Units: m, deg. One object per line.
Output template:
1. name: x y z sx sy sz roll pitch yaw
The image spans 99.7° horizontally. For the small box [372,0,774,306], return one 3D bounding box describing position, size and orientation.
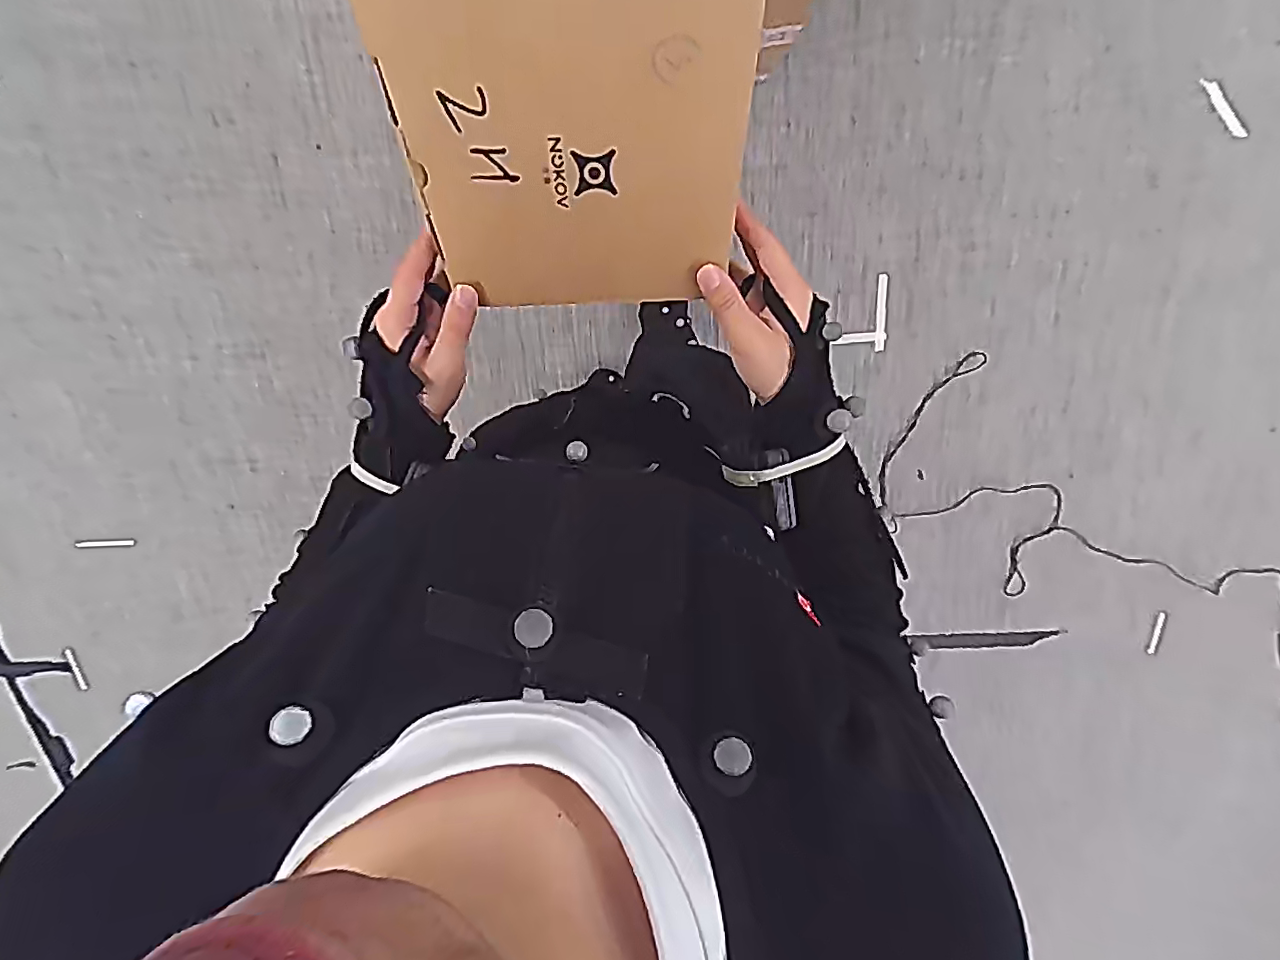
1. small box: -0.032 -0.230 0.337 0.179 0.176 0.168 -2 144 -1
